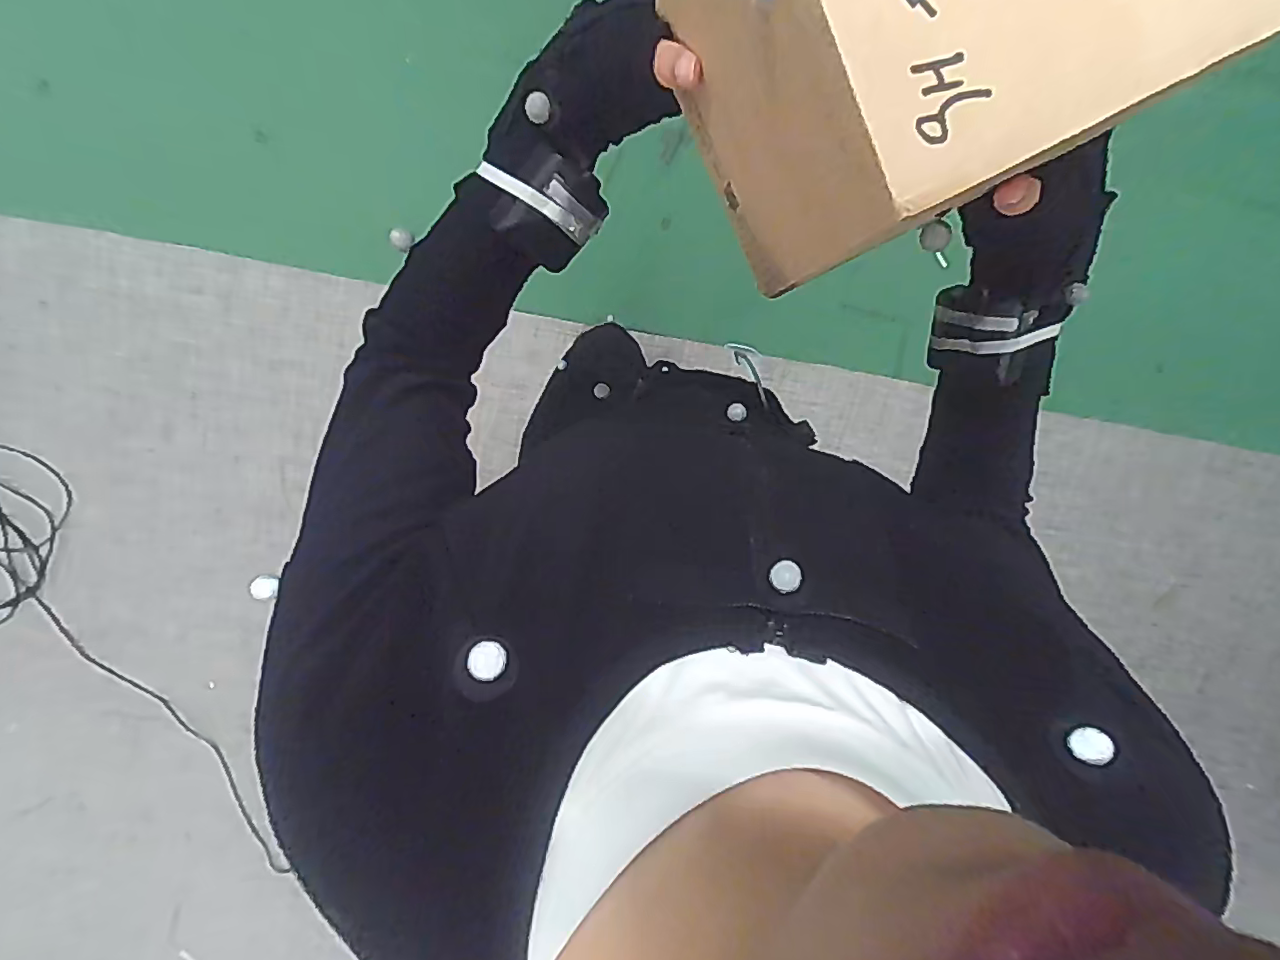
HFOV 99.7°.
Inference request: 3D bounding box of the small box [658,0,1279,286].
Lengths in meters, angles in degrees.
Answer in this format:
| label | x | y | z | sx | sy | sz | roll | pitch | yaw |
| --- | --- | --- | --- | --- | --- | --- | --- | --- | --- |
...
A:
| label | x | y | z | sx | sy | sz | roll | pitch | yaw |
| --- | --- | --- | --- | --- | --- | --- | --- | --- | --- |
| small box | 0.122 | -0.208 | 0.234 | 0.179 | 0.176 | 0.168 | -26 | 100 | 1 |
